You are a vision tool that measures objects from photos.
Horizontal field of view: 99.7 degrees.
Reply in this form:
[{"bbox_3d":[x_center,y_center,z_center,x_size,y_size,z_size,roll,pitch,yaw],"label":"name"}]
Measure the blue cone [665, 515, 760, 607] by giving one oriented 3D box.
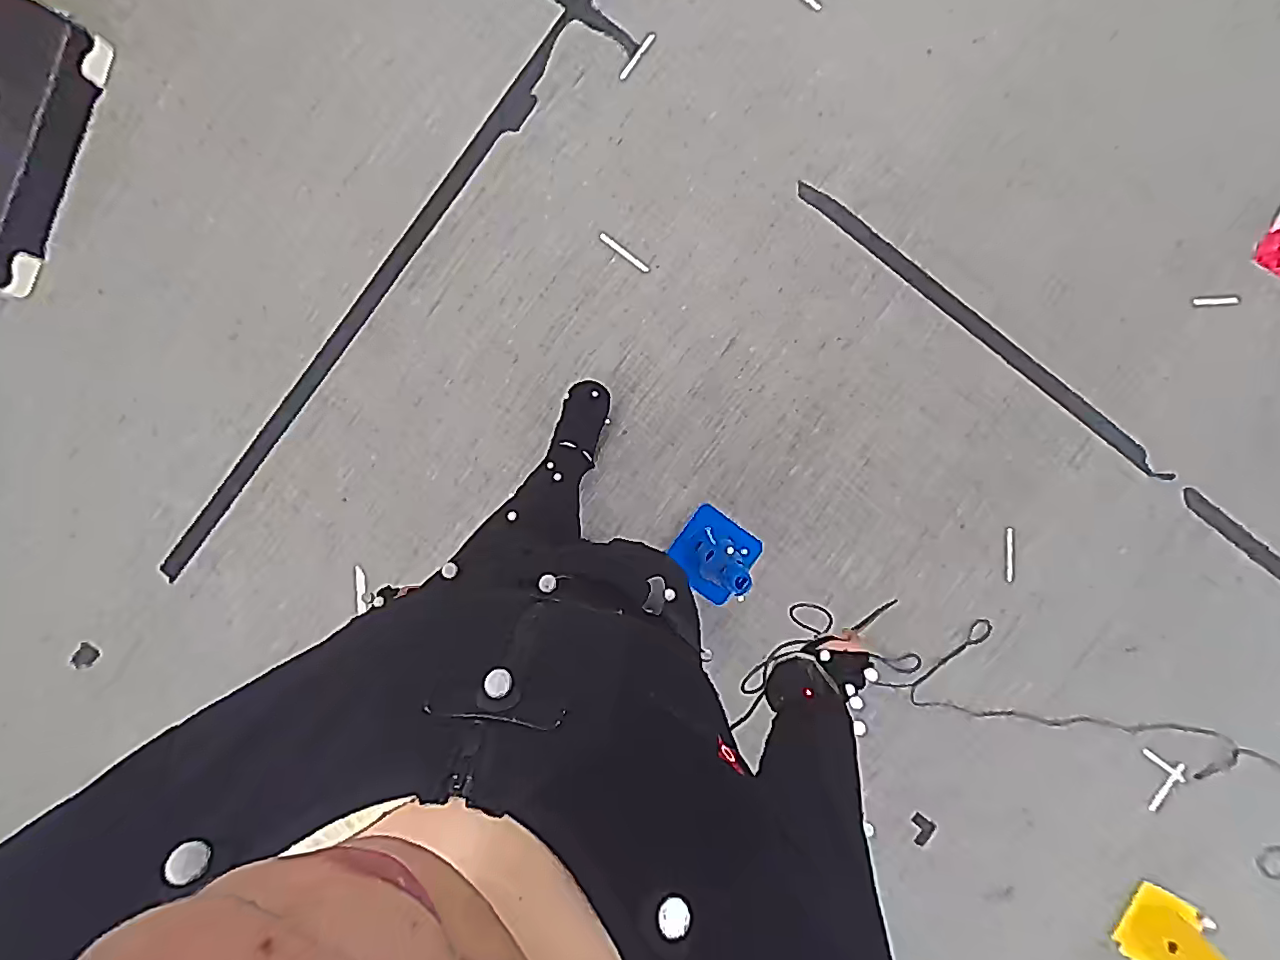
[{"bbox_3d":[0.186,0.206,1.198,0.193,0.380,0.192,38,91,-2],"label":"blue cone"}]
